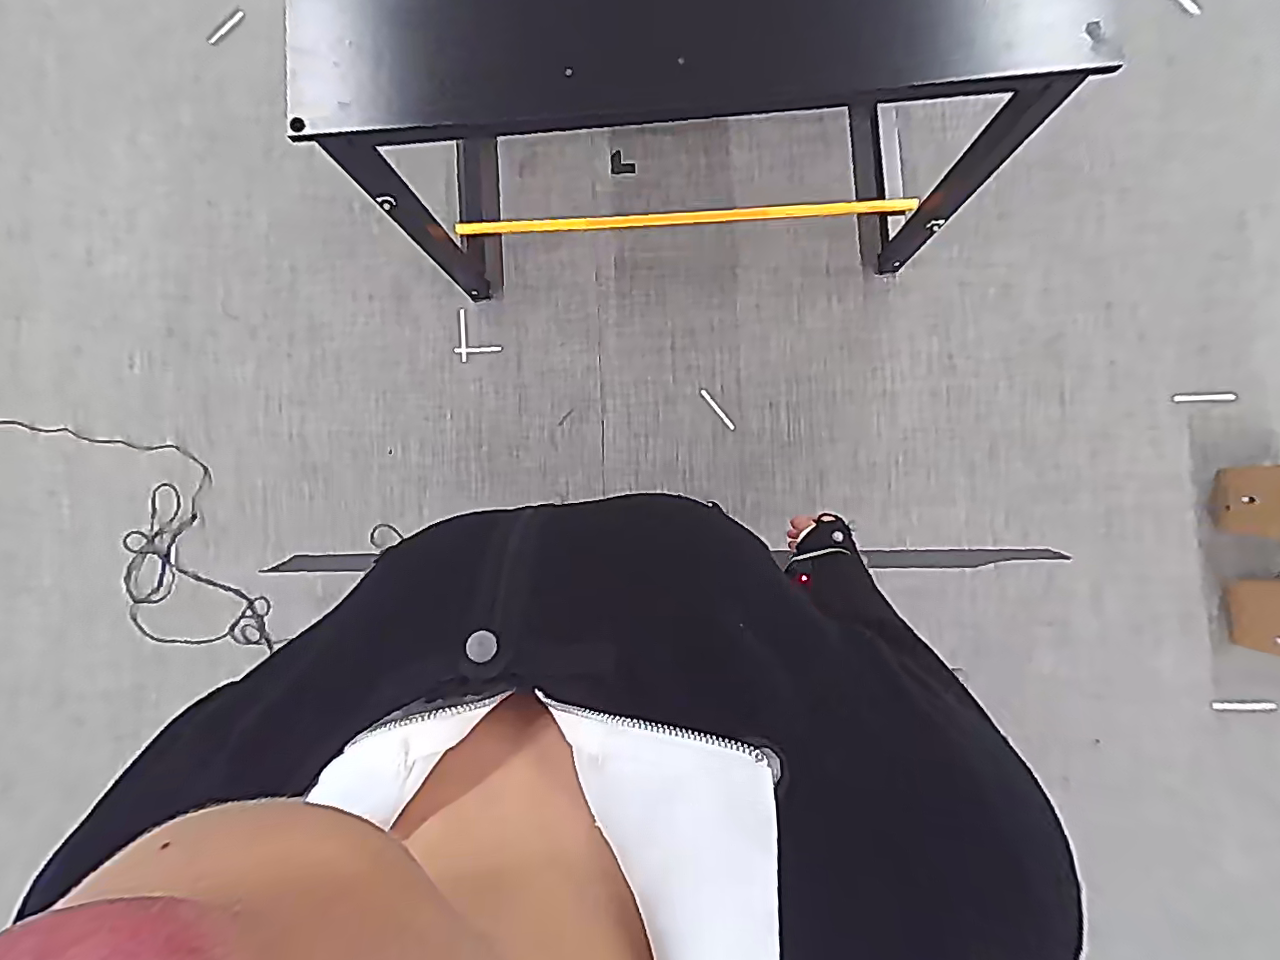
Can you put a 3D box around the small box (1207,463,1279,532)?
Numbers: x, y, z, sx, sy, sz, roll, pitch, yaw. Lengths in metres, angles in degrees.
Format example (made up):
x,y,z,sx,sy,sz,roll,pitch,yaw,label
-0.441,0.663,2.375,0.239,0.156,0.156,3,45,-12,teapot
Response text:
x,y,z,sx,sy,sz,roll,pitch,yaw,label
1.574,0.046,1.344,0.179,0.176,0.168,0,88,4,small box

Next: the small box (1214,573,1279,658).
x,y,z,sx,sy,sz,roll,pitch,yaw,label
1.588,0.332,1.336,0.168,0.176,0.179,-3,89,3,small box

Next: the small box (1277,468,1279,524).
x,y,z,sx,sy,sz,roll,pitch,yaw,label
1.563,0.031,1.178,0.168,0.176,0.179,1,88,3,small box
